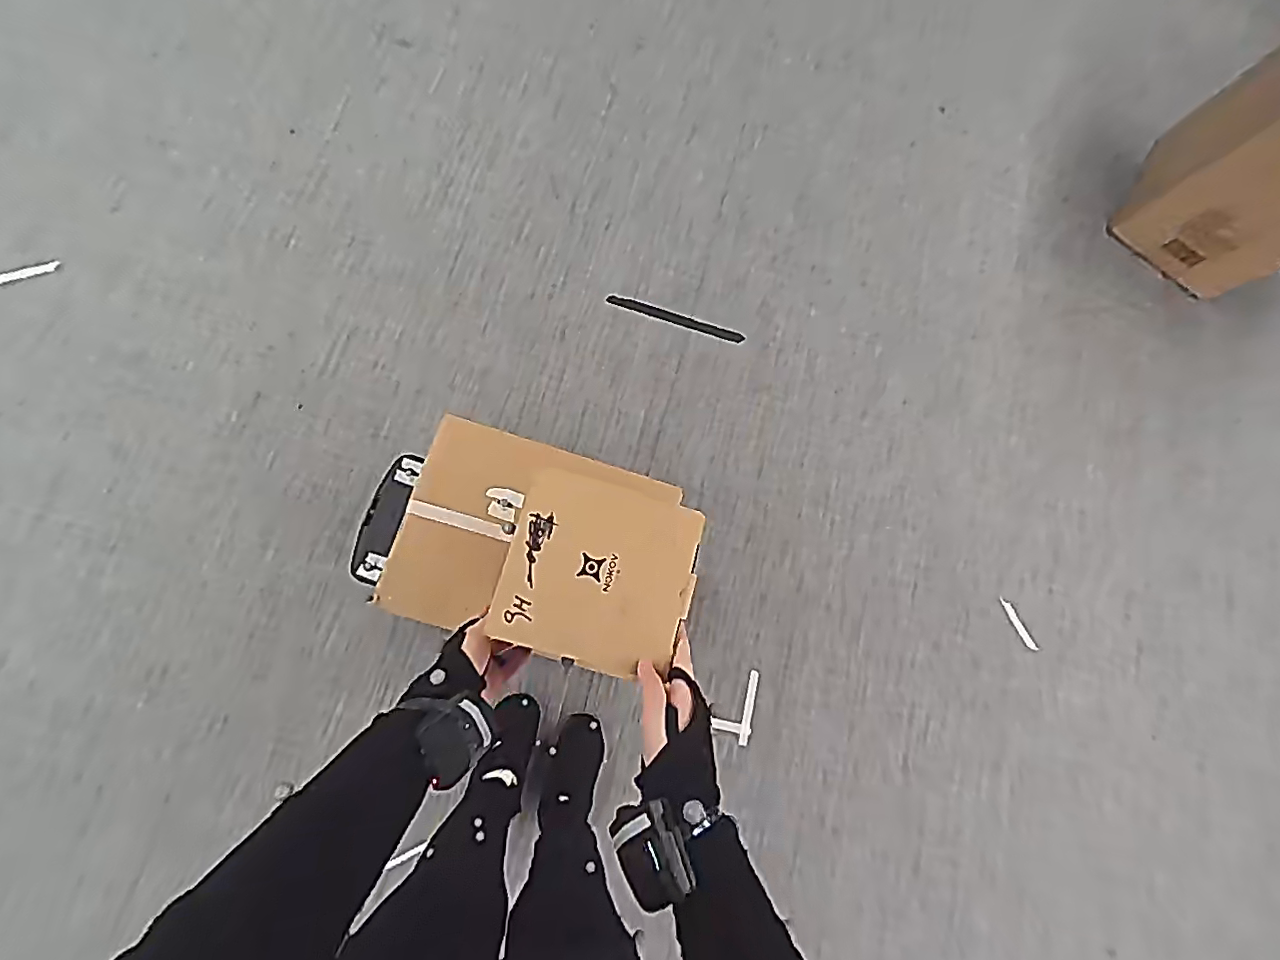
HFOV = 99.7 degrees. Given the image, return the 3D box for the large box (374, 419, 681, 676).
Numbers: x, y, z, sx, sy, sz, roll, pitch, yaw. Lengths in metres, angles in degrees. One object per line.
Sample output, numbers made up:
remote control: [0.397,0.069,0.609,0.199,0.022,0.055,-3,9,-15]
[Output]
large box: [-0.176,0.130,0.975,0.408,0.320,0.320,17,75,-4]

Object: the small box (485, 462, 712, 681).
small box: [-0.046,0.099,0.578,0.179,0.176,0.168,18,74,-5]
